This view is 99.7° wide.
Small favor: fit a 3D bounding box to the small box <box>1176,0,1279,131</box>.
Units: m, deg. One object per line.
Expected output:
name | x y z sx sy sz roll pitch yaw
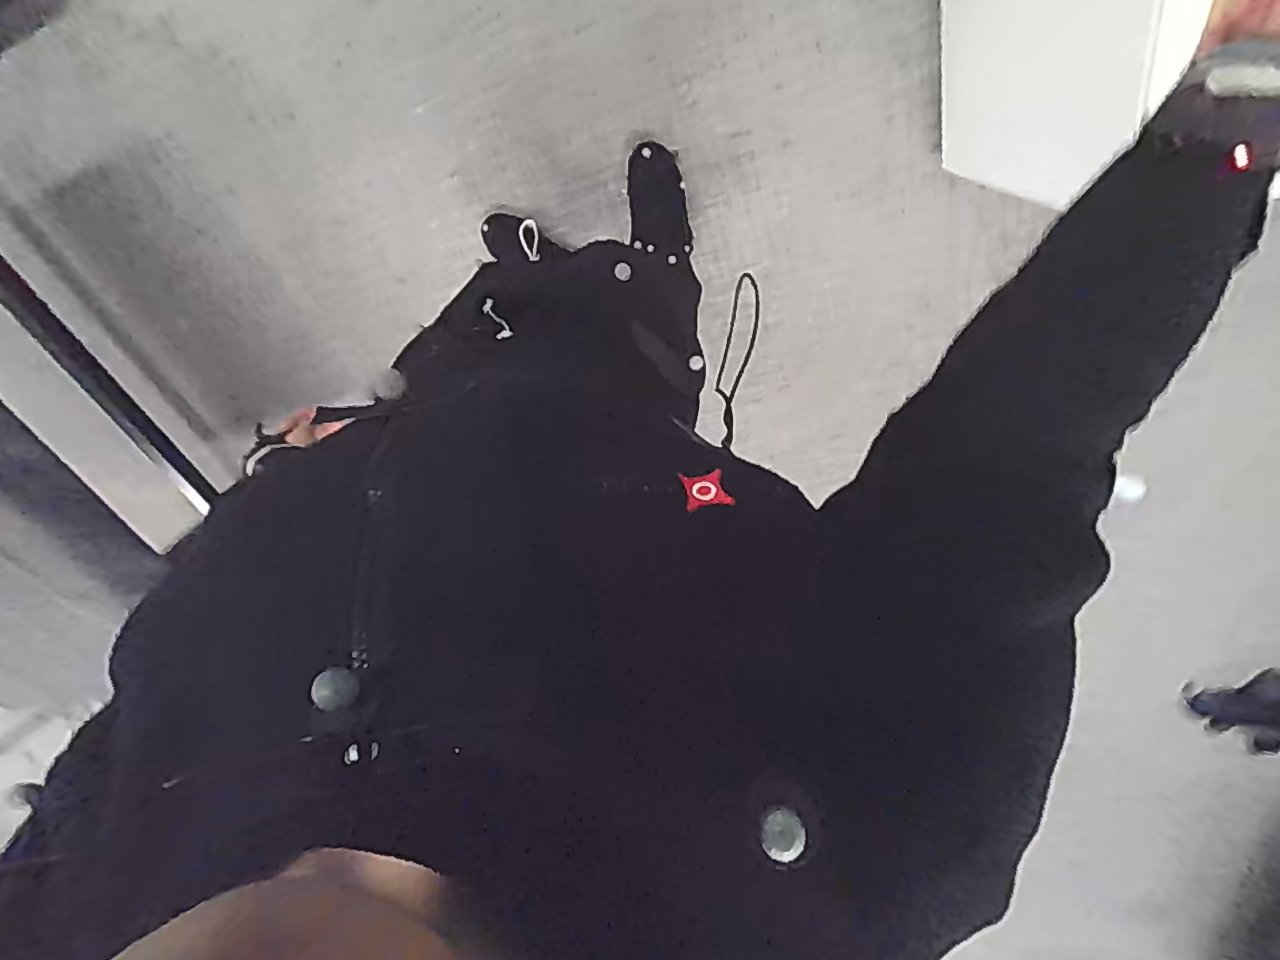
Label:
small box | 0.545 -0.350 0.366 0.179 0.176 0.168 -4 125 11
